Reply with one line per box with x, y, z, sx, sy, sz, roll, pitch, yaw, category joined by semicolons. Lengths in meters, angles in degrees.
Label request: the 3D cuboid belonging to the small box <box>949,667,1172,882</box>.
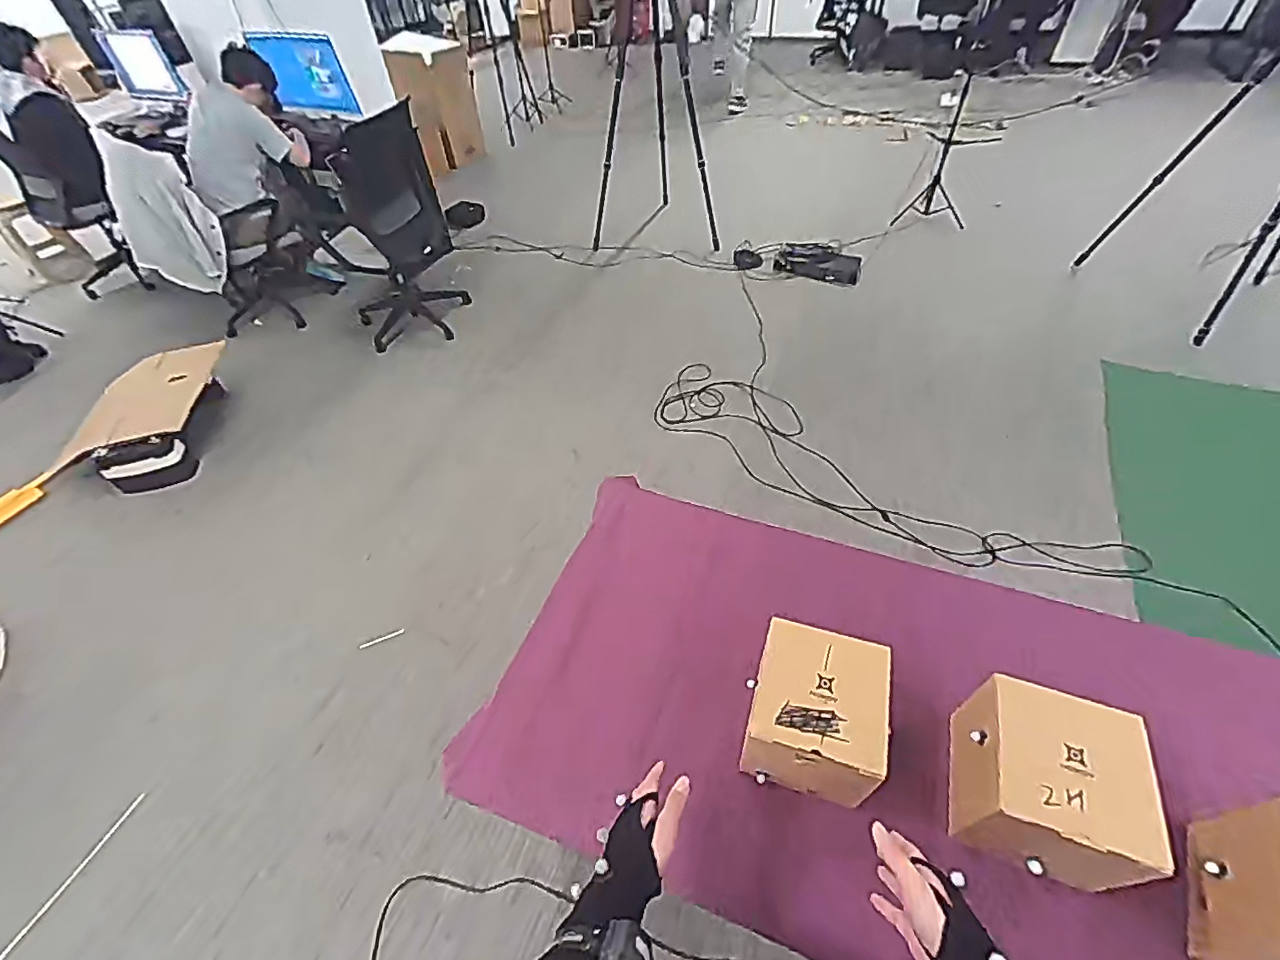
0.518;0.379;0.697;0.168;0.176;0.179;15;52;18;small box

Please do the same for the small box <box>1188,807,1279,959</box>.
0.759;0.485;0.584;0.179;0.176;0.168;23;55;25;small box

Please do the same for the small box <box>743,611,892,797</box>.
0.246;0.321;0.771;0.168;0.176;0.179;13;50;15;small box
